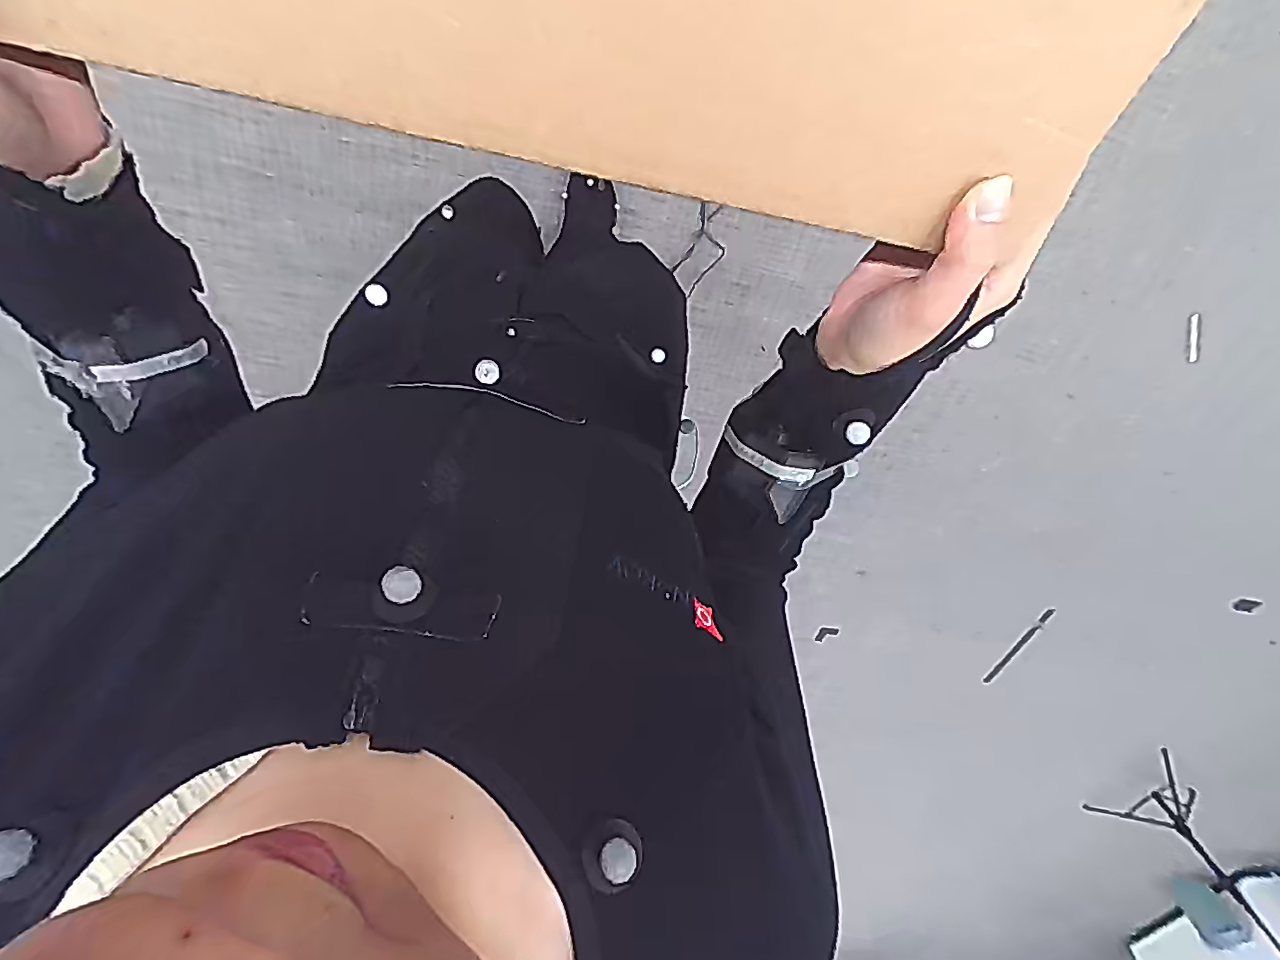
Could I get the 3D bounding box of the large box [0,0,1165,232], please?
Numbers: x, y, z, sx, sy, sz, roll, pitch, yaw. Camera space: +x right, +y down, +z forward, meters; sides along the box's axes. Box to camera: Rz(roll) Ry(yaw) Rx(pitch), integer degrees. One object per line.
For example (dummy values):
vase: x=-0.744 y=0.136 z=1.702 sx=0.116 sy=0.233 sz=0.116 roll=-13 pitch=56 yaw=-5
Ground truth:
large box: x=-0.014 y=-0.338 z=0.197 sx=0.408 sy=0.320 sz=0.320 roll=7 pitch=137 yaw=-8
